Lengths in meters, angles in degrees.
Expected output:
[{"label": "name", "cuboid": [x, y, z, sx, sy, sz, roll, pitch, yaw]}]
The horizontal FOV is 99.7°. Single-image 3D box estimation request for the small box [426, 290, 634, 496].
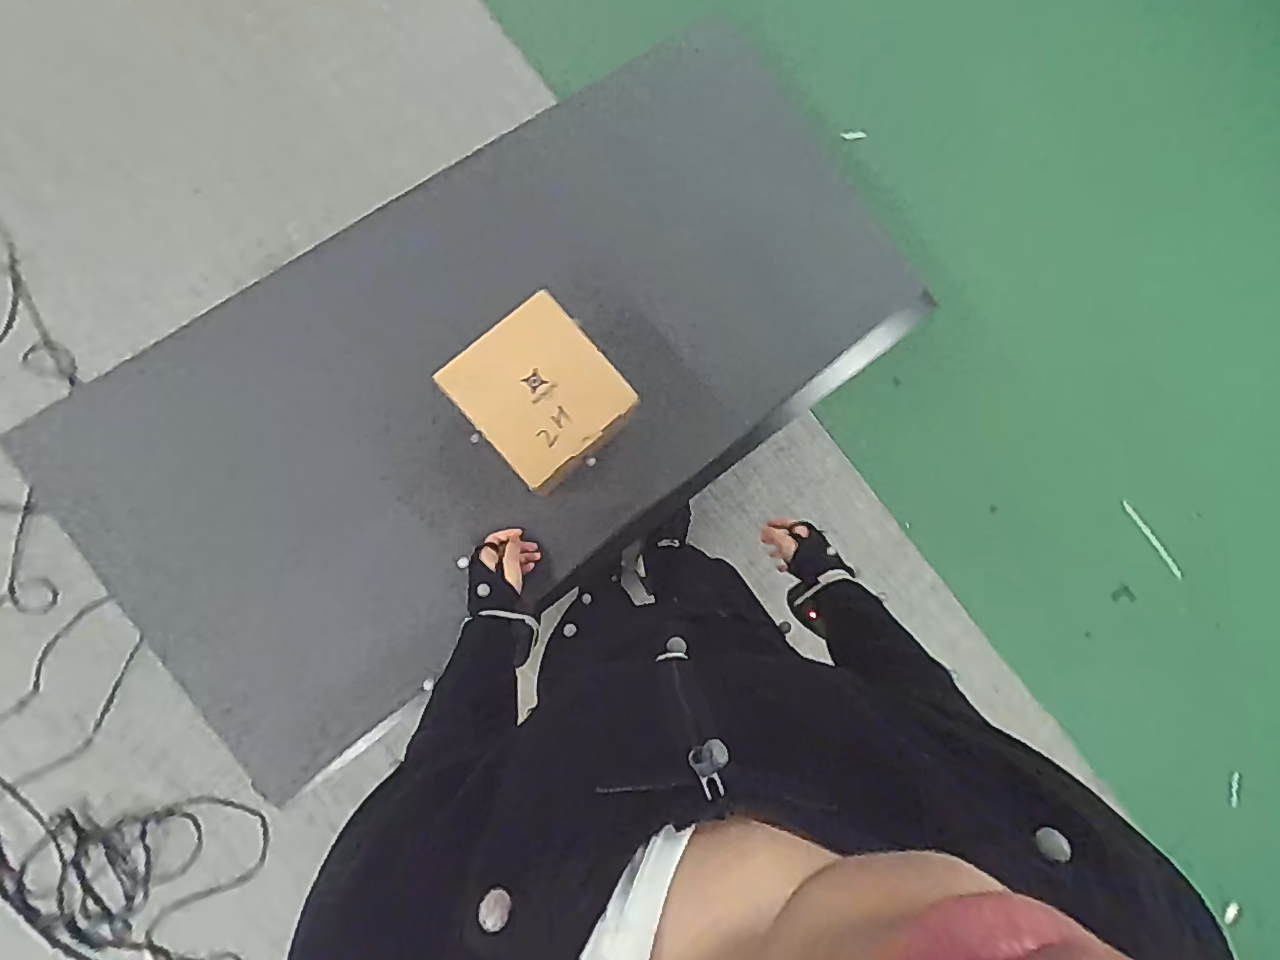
[{"label": "small box", "cuboid": [-0.132, -0.095, 0.685, 0.168, 0.176, 0.179, -42, 90, -9]}]
